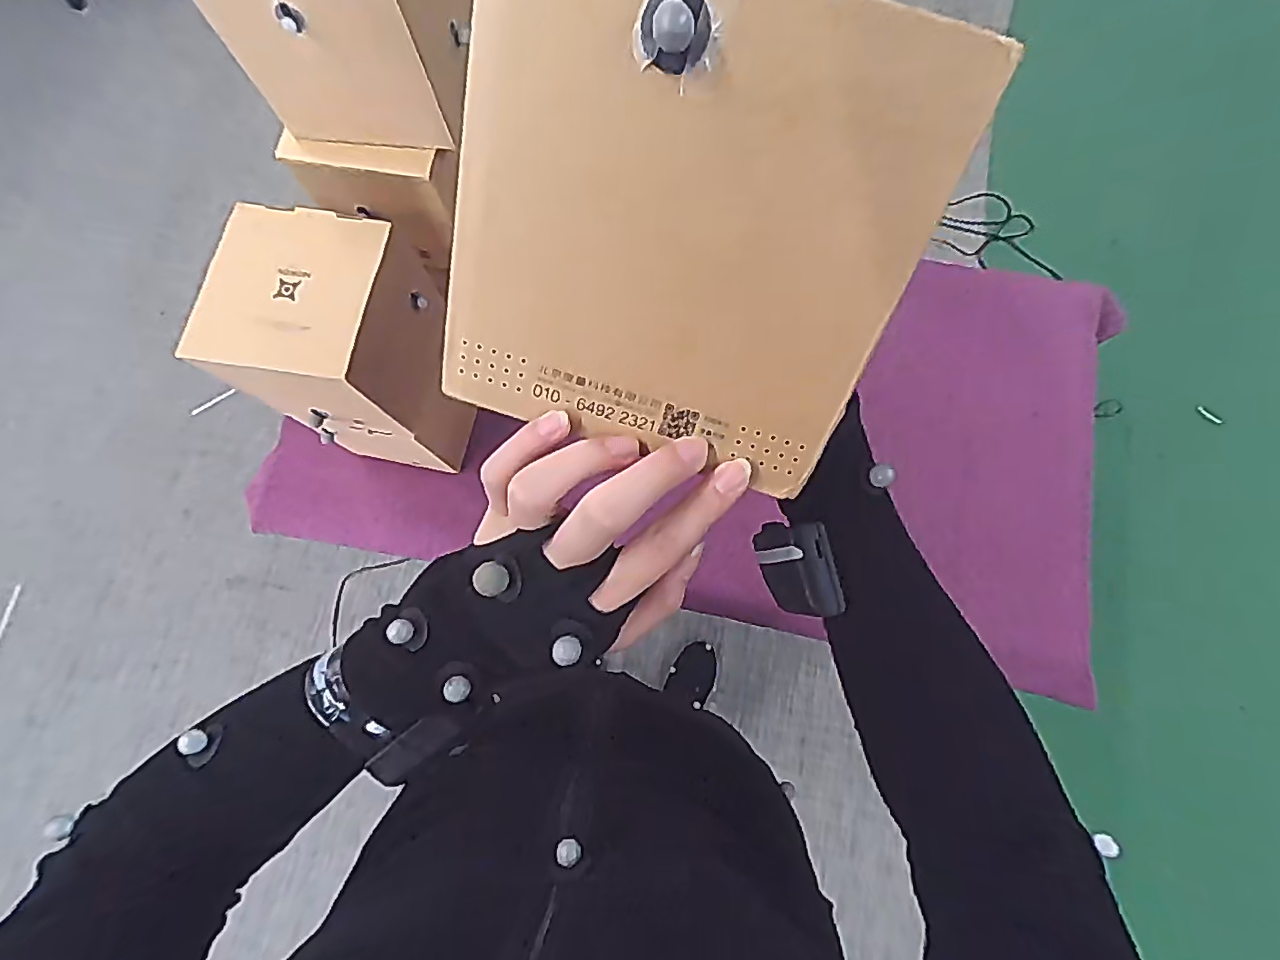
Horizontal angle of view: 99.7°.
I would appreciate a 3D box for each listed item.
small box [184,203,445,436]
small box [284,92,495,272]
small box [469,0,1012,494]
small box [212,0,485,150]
[{"bbox_3d":[-0.336,-0.167,0.603,0.168,0.176,0.179,9,76,2],"label":"small box"},{"bbox_3d":[-0.279,-0.381,0.656,0.168,0.176,0.179,9,76,2],"label":"small box"},{"bbox_3d":[0.027,-0.121,0.275,0.168,0.179,0.176,17,119,0],"label":"small box"},{"bbox_3d":[-0.263,-0.442,0.502,0.179,0.176,0.168,6,77,1],"label":"small box"}]
